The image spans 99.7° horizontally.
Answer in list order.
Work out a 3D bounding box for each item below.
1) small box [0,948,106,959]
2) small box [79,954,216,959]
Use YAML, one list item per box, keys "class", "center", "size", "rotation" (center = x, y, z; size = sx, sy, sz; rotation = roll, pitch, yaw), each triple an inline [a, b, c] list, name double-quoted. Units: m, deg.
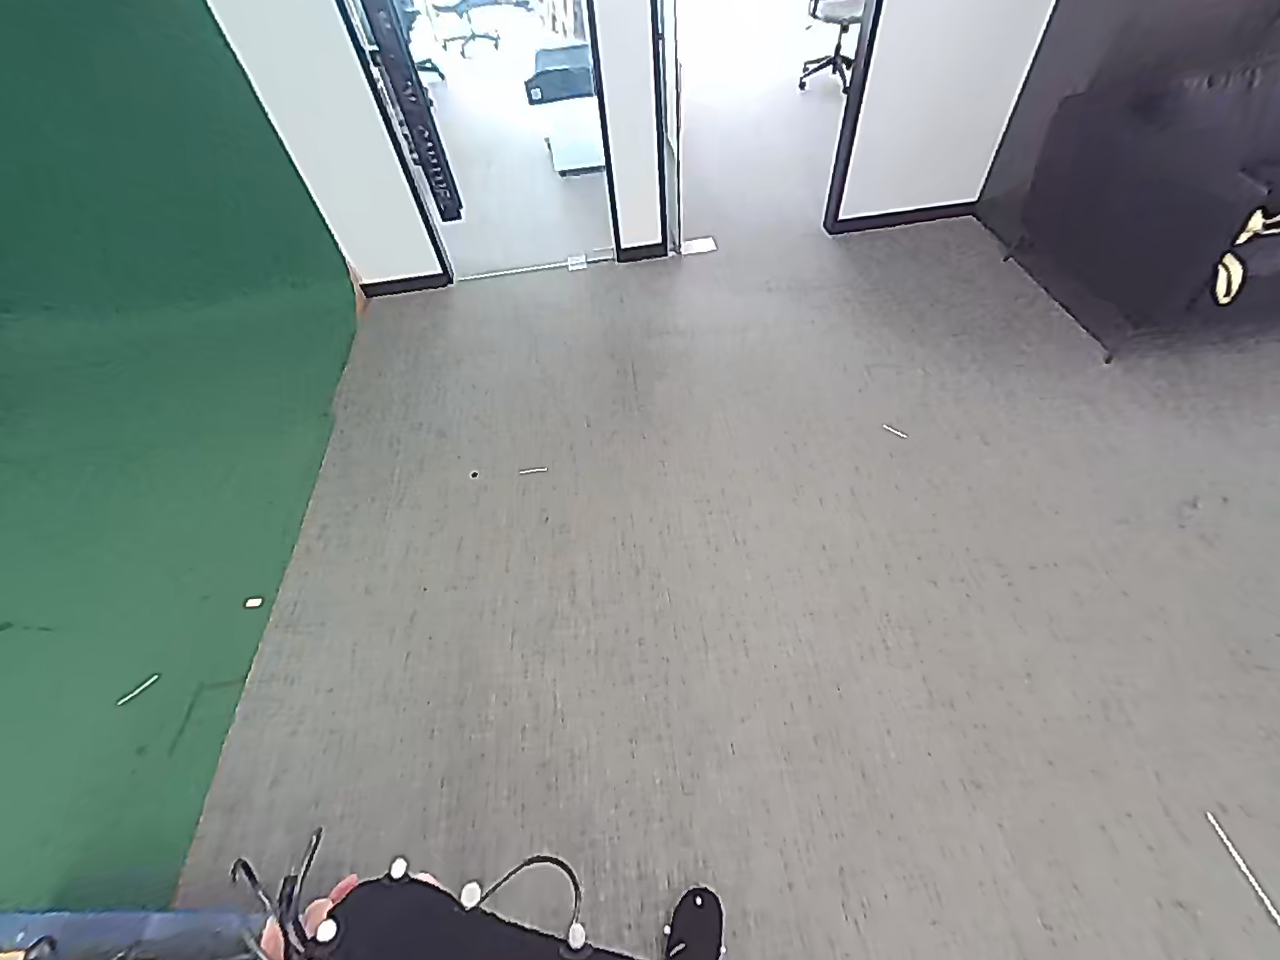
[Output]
- class: "small box"
  center: [-1.205, 1.007, 1.027]
  size: [0.179, 0.176, 0.168]
  rotation: [-3, 52, 1]
- class: "small box"
  center: [-0.959, 1.003, 1.011]
  size: [0.179, 0.176, 0.168]
  rotation: [0, 52, 4]
